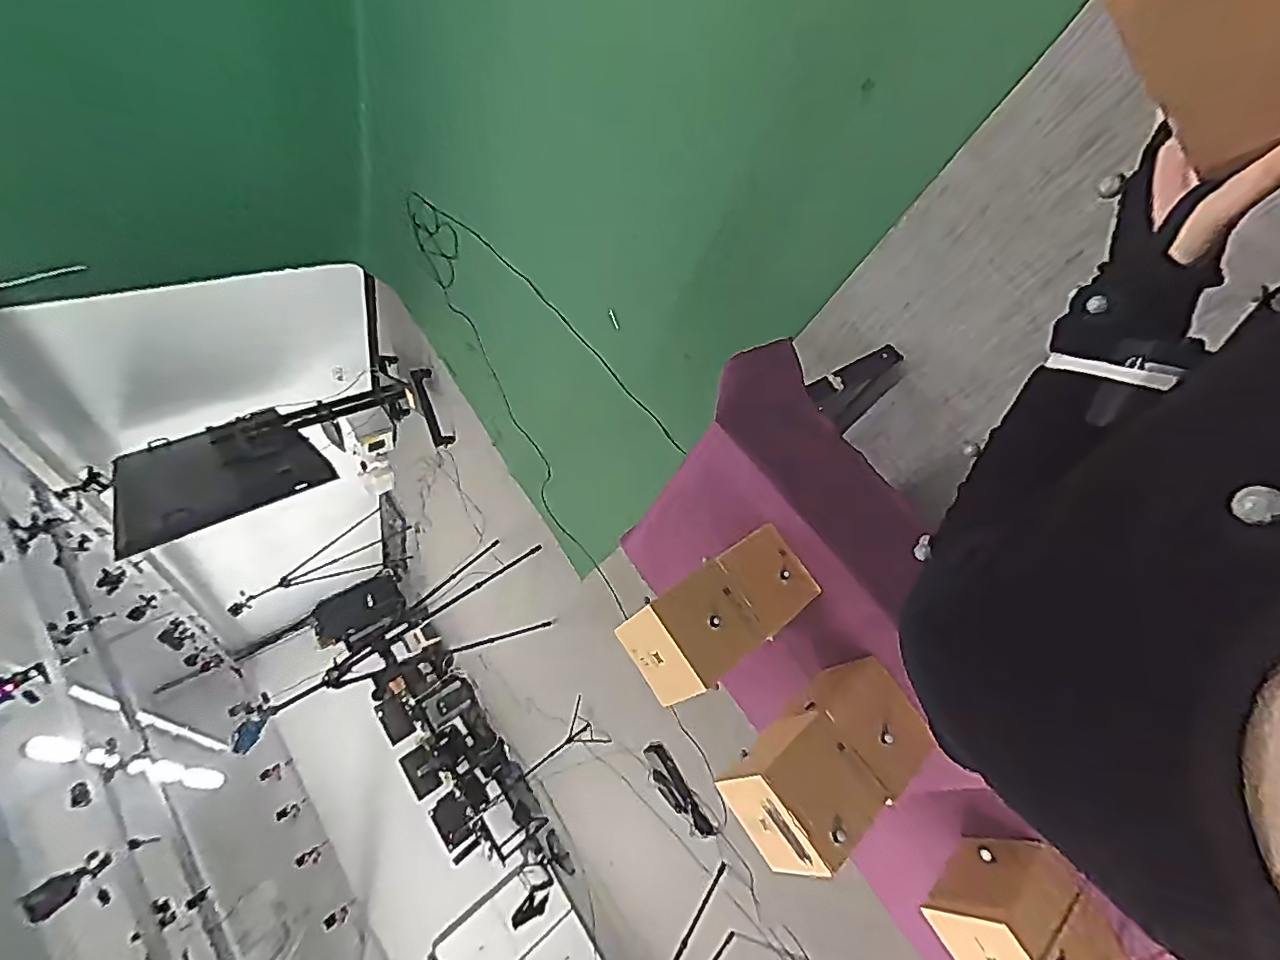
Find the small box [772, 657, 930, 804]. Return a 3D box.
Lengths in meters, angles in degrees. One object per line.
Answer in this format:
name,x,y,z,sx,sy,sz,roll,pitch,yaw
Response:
small box,0.390,0.460,0.997,0.179,0.176,0.168,54,144,12

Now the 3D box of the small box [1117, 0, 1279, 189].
small box,0.346,-0.284,0.236,0.168,0.179,0.176,0,68,60

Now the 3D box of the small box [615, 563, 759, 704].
small box,0.089,0.275,0.982,0.168,0.176,0.179,56,144,13

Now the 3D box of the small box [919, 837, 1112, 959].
small box,0.610,0.727,0.880,0.179,0.176,0.168,56,145,13

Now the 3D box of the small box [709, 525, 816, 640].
small box,0.212,0.216,1.076,0.168,0.176,0.179,56,144,11
